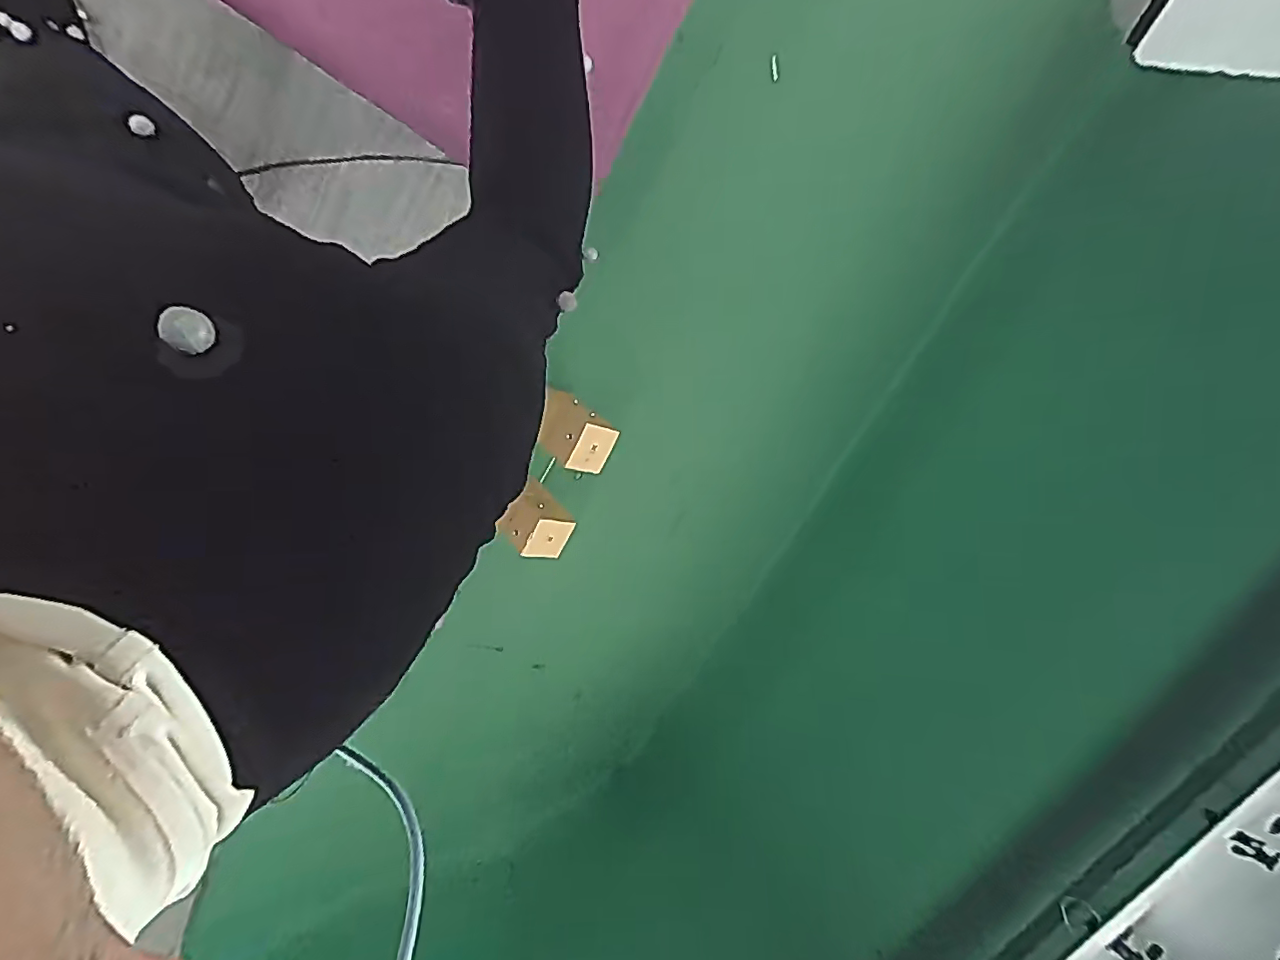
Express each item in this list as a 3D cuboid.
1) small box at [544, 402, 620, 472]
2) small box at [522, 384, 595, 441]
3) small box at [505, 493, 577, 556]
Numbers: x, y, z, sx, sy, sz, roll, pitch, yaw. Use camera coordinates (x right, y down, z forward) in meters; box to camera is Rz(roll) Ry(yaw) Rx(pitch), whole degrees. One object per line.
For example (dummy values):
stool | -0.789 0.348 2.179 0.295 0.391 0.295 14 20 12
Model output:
small box | -0.209 -0.154 1.899 0.168 0.176 0.179 11 114 -49
small box | -0.305 -0.239 2.002 0.179 0.176 0.168 11 114 -50
small box | -0.375 0.164 2.014 0.179 0.176 0.168 12 114 -49
